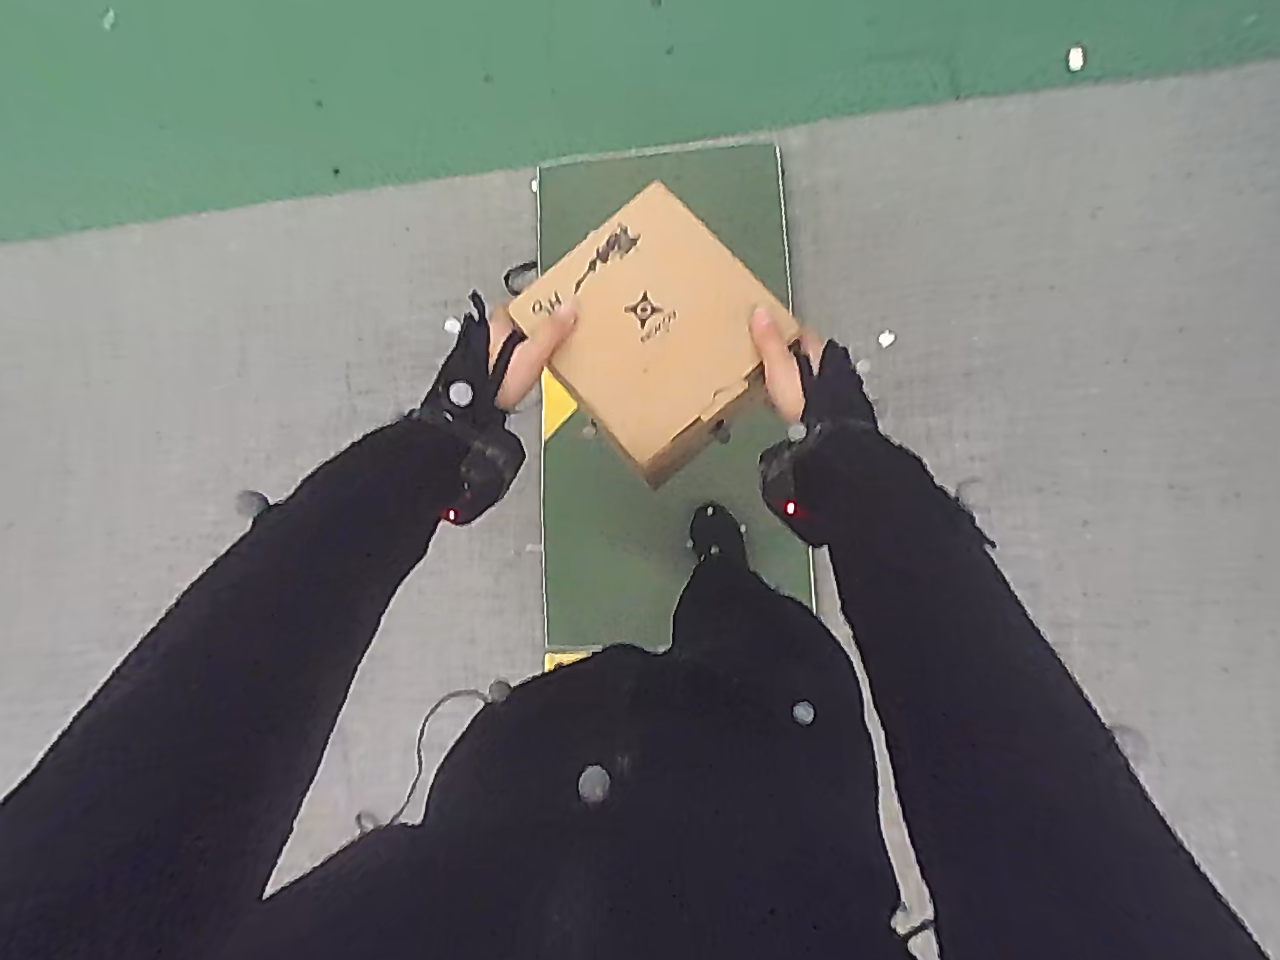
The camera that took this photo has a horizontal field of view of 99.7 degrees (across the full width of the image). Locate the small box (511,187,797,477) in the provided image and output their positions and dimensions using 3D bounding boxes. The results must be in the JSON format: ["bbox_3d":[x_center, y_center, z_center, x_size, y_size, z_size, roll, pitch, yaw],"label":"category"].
[{"bbox_3d":[0.014,-0.117,0.510,0.168,0.176,0.179,-40,82,-3],"label":"small box"}]
